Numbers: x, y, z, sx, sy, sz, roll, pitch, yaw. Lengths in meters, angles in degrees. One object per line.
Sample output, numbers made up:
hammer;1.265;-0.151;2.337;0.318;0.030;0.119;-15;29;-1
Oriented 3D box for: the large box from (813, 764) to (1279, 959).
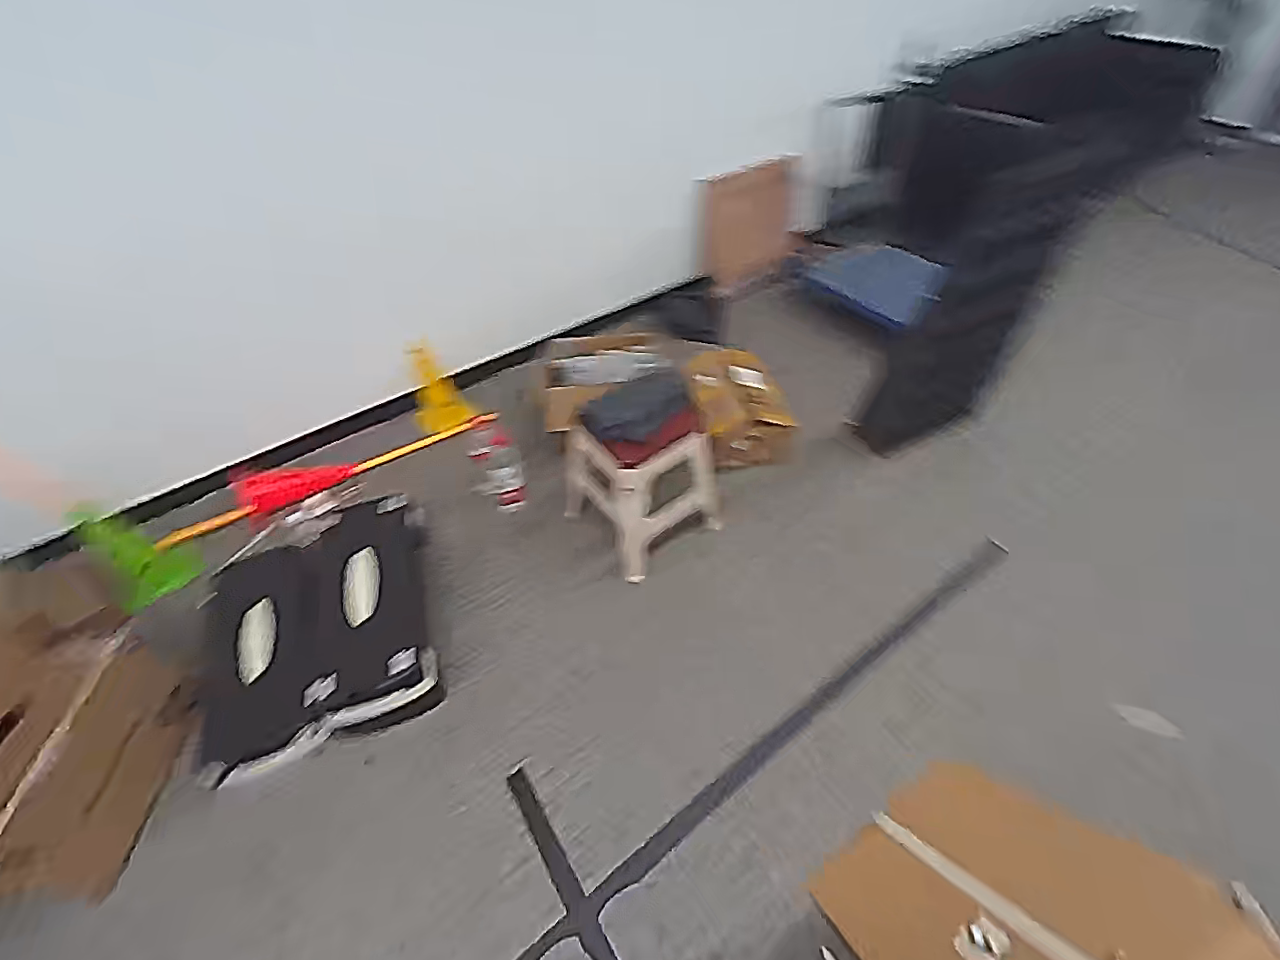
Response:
large box;0.495;0.635;0.652;0.320;0.408;0.320;-32;87;-12
